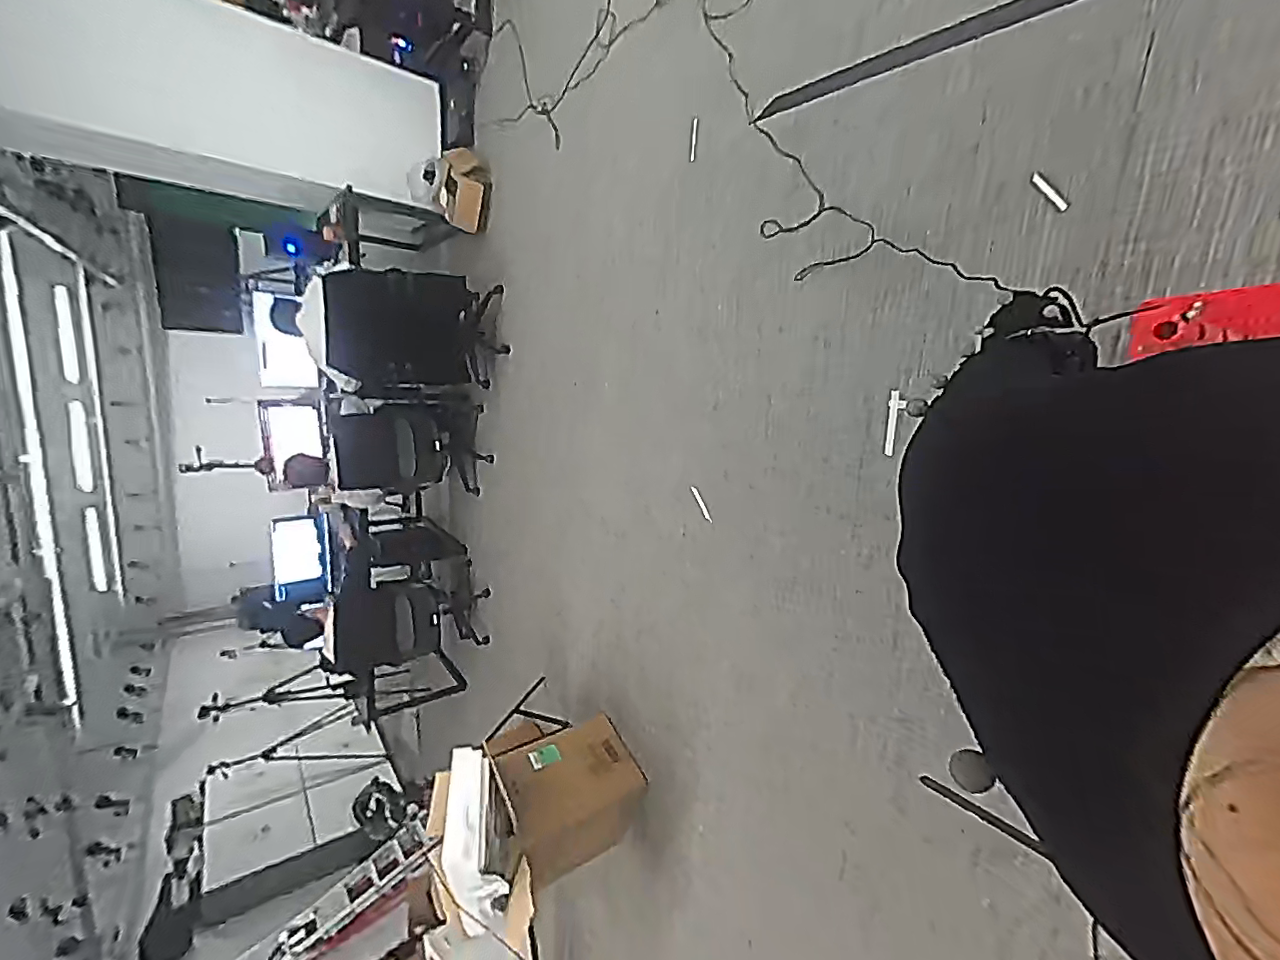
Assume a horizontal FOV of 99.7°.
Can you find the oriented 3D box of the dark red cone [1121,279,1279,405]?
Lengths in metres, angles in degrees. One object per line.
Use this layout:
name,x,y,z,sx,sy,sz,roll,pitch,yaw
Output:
dark red cone,0.853,-0.228,0.854,0.202,0.394,0.201,7,98,52
